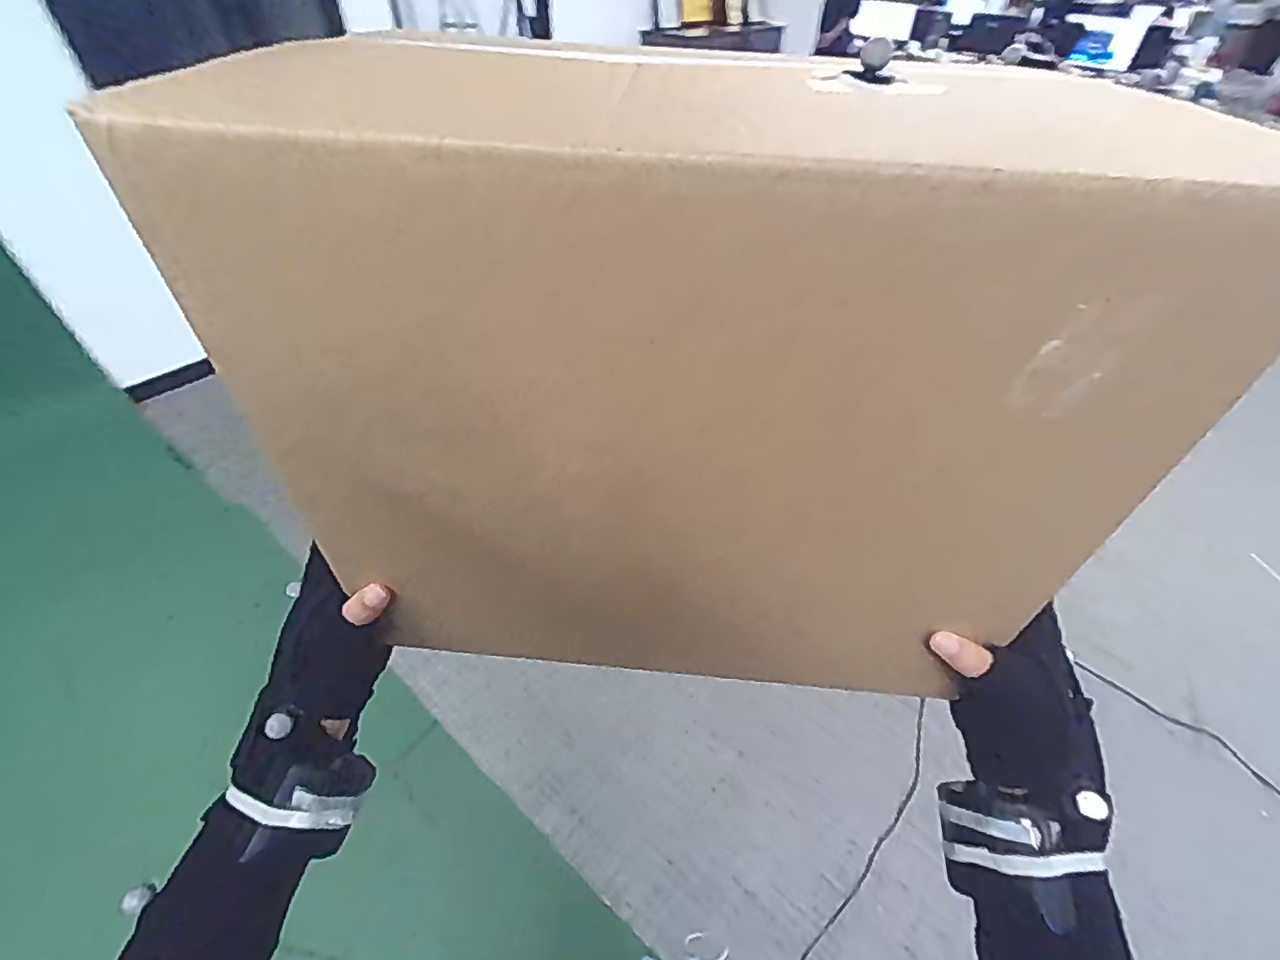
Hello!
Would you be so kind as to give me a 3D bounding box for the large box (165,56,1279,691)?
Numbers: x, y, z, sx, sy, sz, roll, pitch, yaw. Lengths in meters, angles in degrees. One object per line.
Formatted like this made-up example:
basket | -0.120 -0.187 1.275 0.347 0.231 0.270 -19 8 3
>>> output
large box | 0.039 -0.080 0.383 0.408 0.320 0.320 6 43 1
